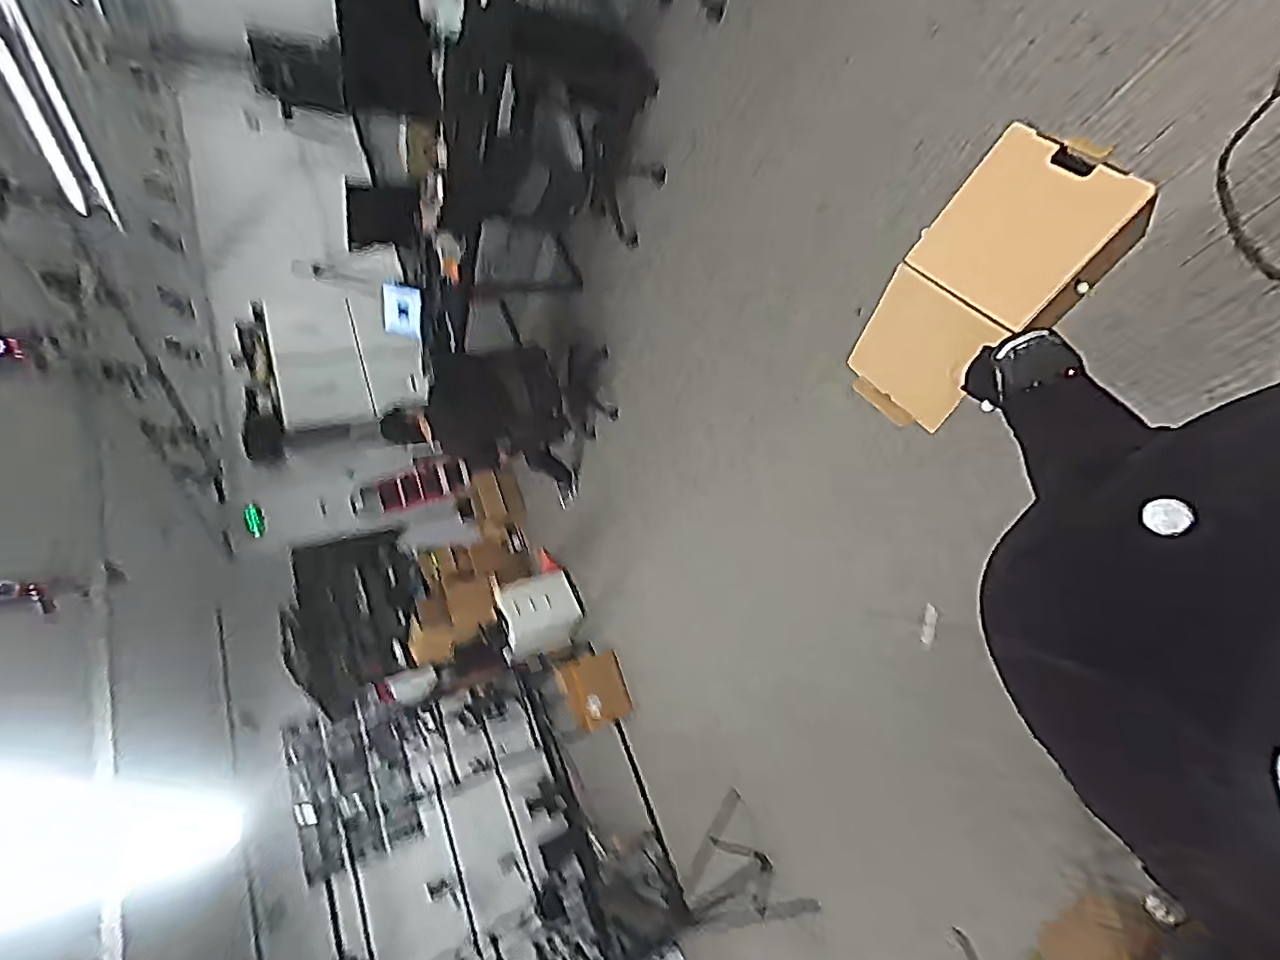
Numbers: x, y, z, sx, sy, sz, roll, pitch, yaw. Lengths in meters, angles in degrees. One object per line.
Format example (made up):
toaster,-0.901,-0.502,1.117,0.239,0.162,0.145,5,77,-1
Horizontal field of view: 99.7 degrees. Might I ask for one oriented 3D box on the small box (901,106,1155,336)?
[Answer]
small box,0.465,-0.297,0.659,0.168,0.176,0.179,51,123,24
